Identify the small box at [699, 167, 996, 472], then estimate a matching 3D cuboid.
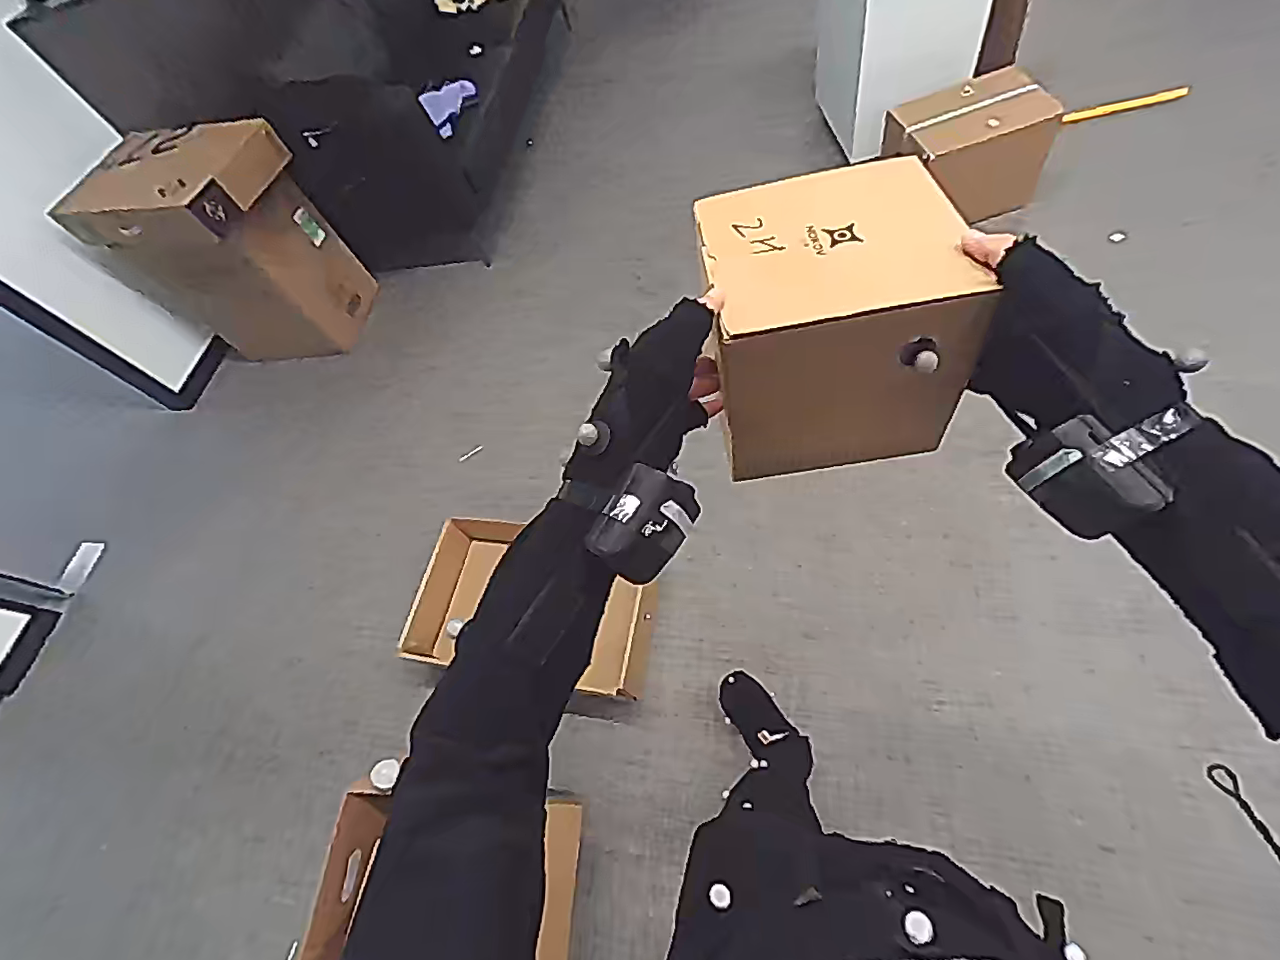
[{"bbox_3d":[0.150,-0.126,0.460,0.179,0.176,0.168,-9,54,6],"label":"small box"}]
